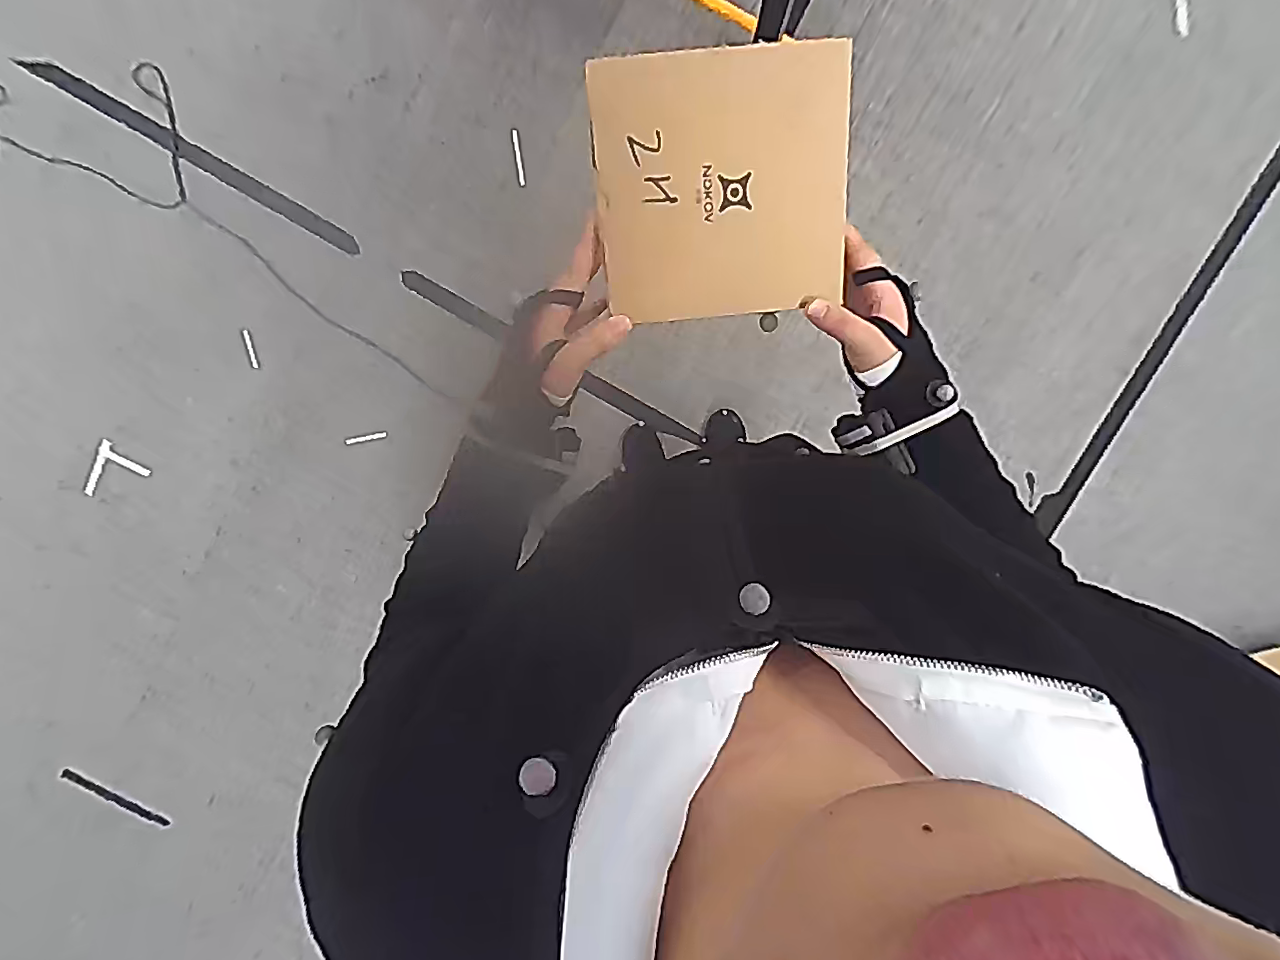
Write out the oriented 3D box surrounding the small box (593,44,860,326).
[{"bbox_3d":[0.057,-0.224,0.446,0.179,0.176,0.168,-5,110,0],"label":"small box"}]
